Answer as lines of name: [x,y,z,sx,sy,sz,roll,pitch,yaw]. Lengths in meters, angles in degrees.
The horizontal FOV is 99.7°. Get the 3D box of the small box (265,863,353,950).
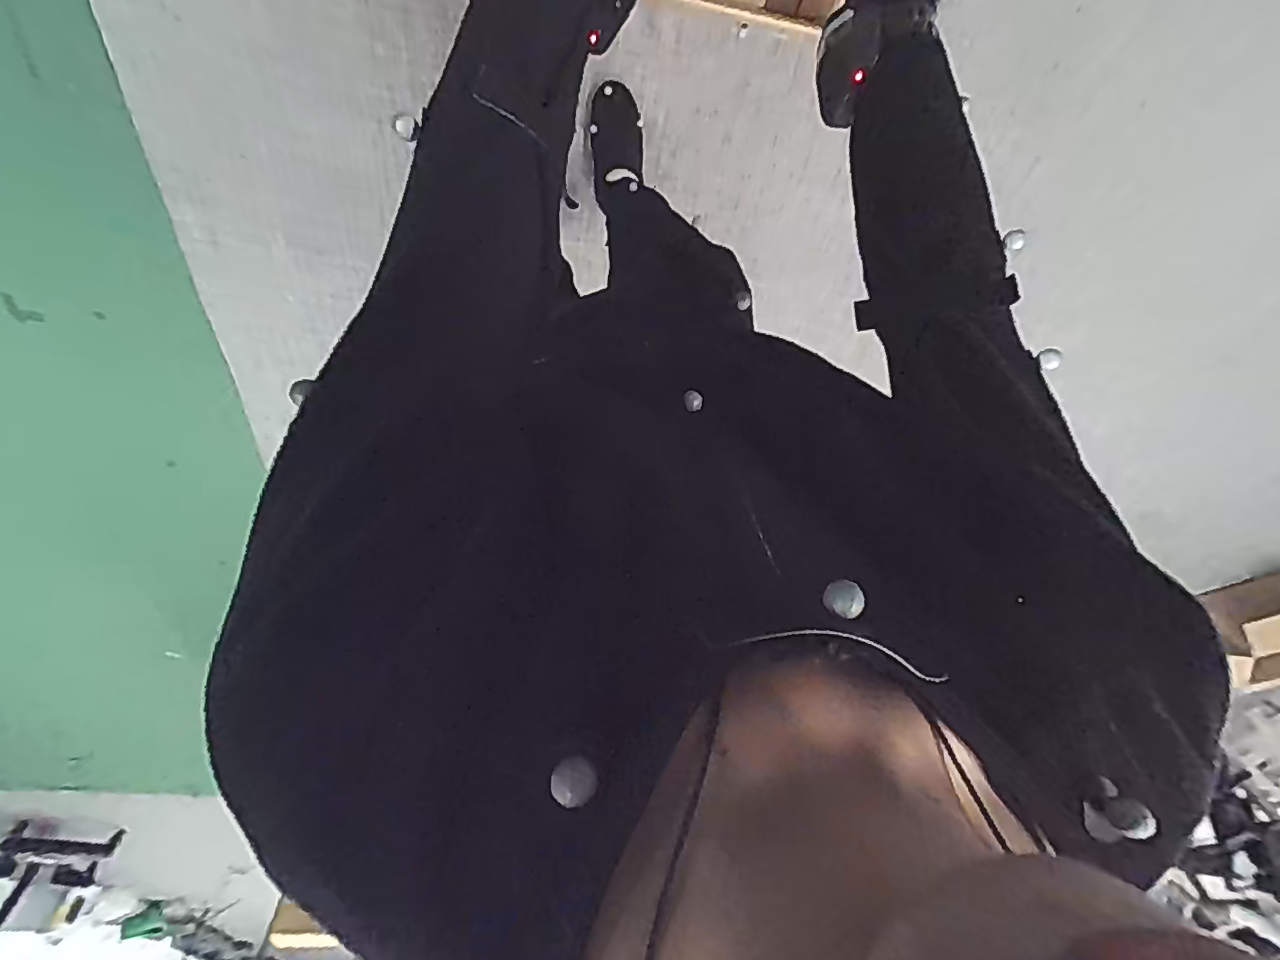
small box: [-0.942,1.230,1.557,0.168,0.176,0.179,12,129,-13]
